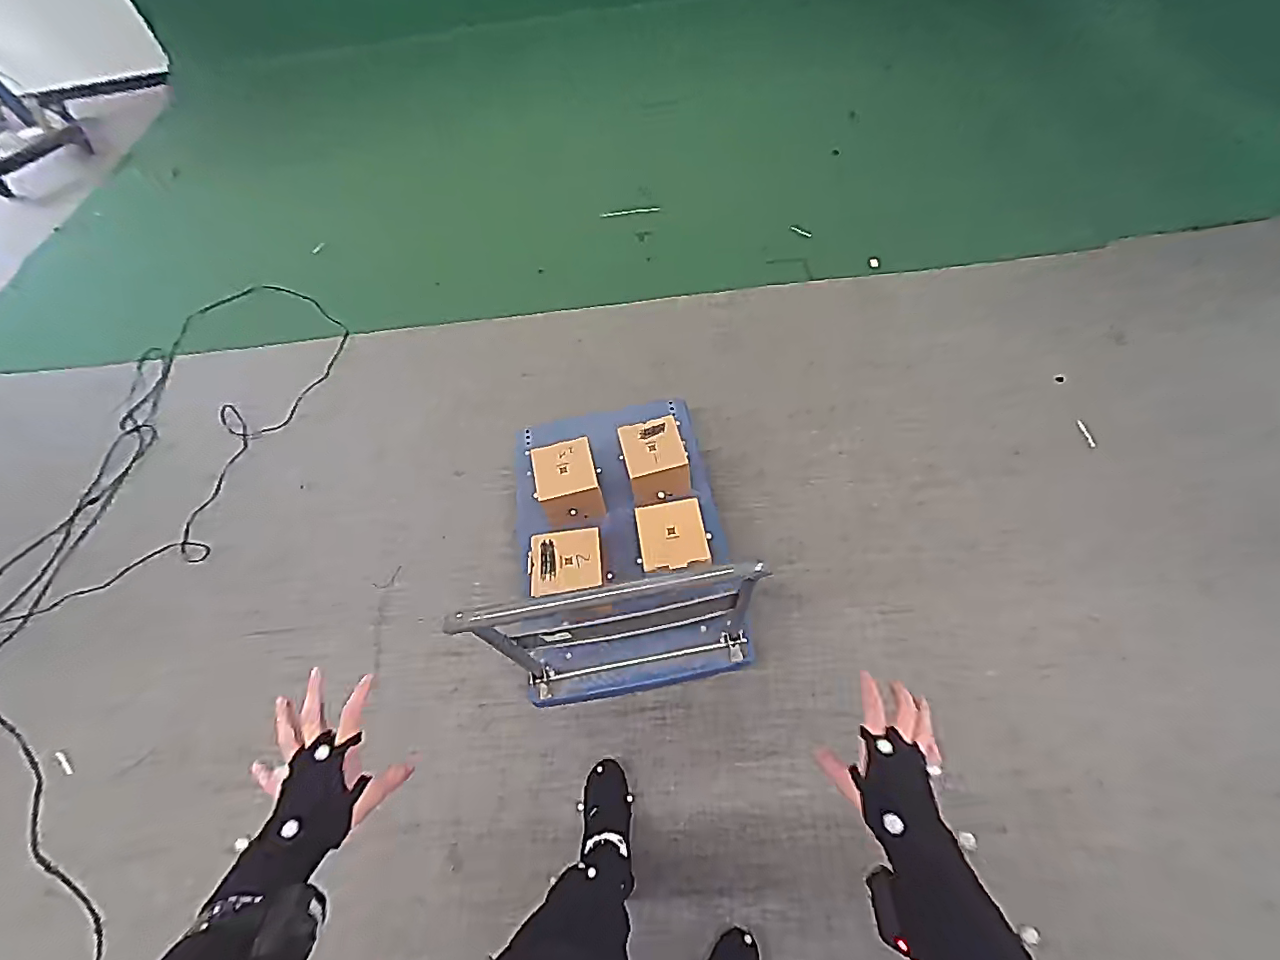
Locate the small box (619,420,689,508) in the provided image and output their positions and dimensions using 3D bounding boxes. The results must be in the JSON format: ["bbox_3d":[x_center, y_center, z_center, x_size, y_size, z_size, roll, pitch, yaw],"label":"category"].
[{"bbox_3d":[0.042,-0.043,1.577,0.168,0.176,0.179,-15,59,-1],"label":"small box"}]

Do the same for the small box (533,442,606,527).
[{"bbox_3d":[-0.202,0.020,1.568,0.168,0.176,0.179,-14,58,-3],"label":"small box"}]

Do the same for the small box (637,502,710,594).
[{"bbox_3d":[0.087,0.183,1.436,0.168,0.176,0.179,-10,59,0],"label":"small box"}]
